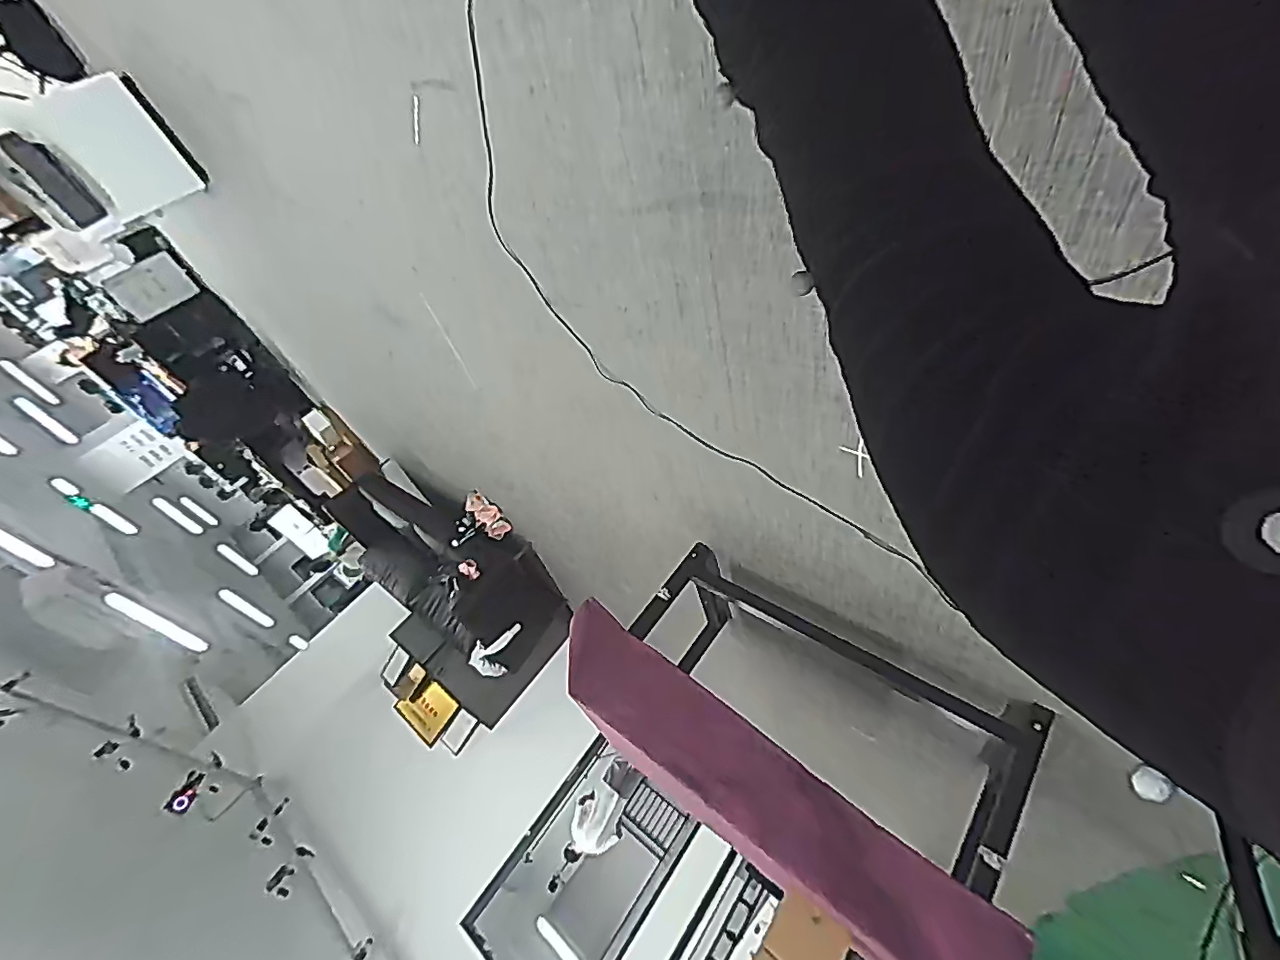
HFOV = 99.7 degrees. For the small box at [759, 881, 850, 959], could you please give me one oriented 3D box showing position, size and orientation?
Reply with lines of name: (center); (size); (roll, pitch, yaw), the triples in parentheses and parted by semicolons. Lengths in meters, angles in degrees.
small box: (0.450, 1.232, 1.471); (0.179, 0.176, 0.168); (23, 149, 37)
